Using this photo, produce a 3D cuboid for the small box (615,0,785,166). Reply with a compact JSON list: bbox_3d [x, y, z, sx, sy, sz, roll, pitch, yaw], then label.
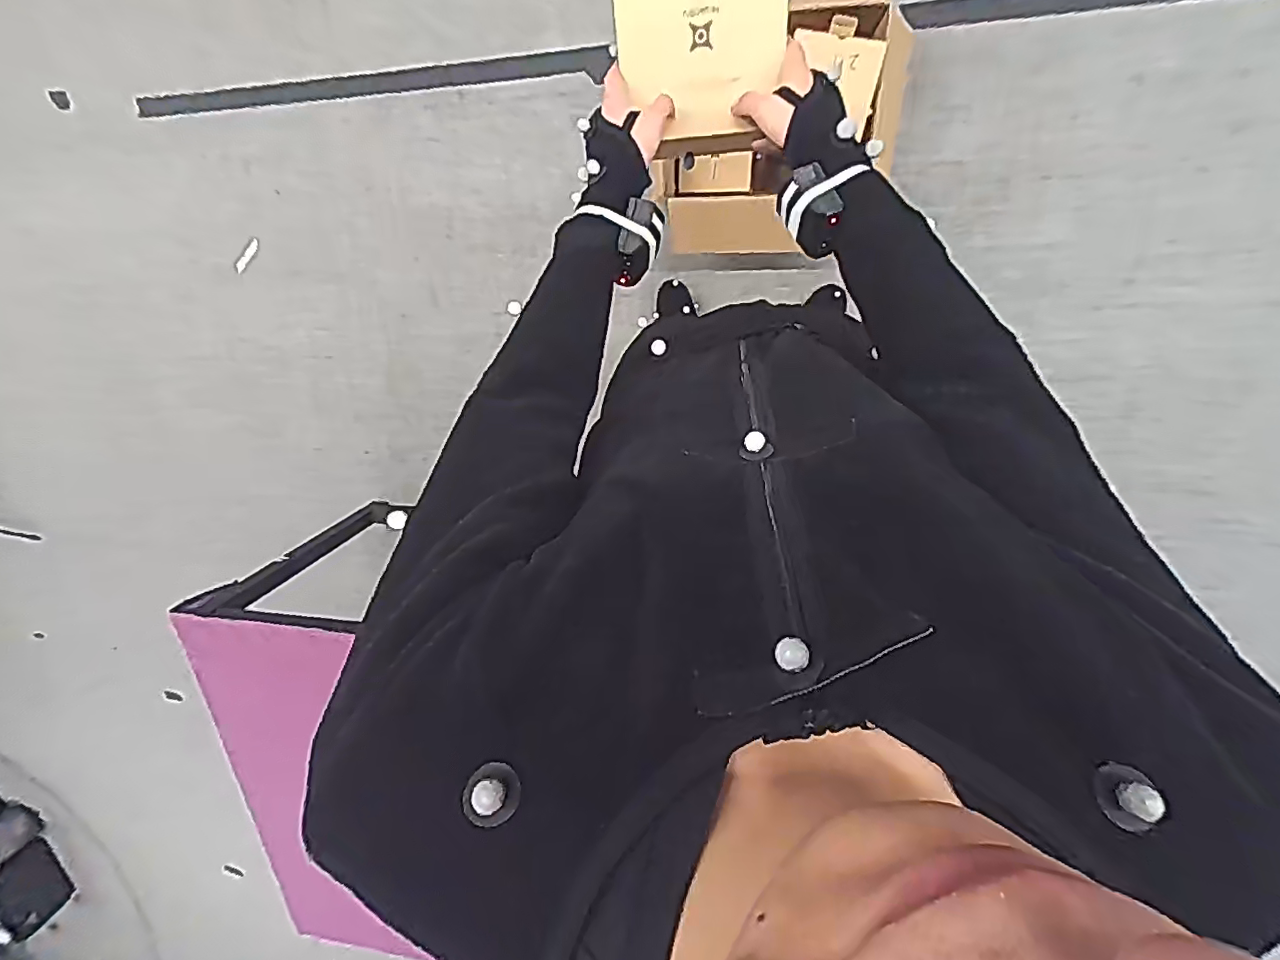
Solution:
[{"bbox_3d":[0.065,-0.467,0.602,0.168,0.176,0.179,-1,114,7],"label":"small box"}]
